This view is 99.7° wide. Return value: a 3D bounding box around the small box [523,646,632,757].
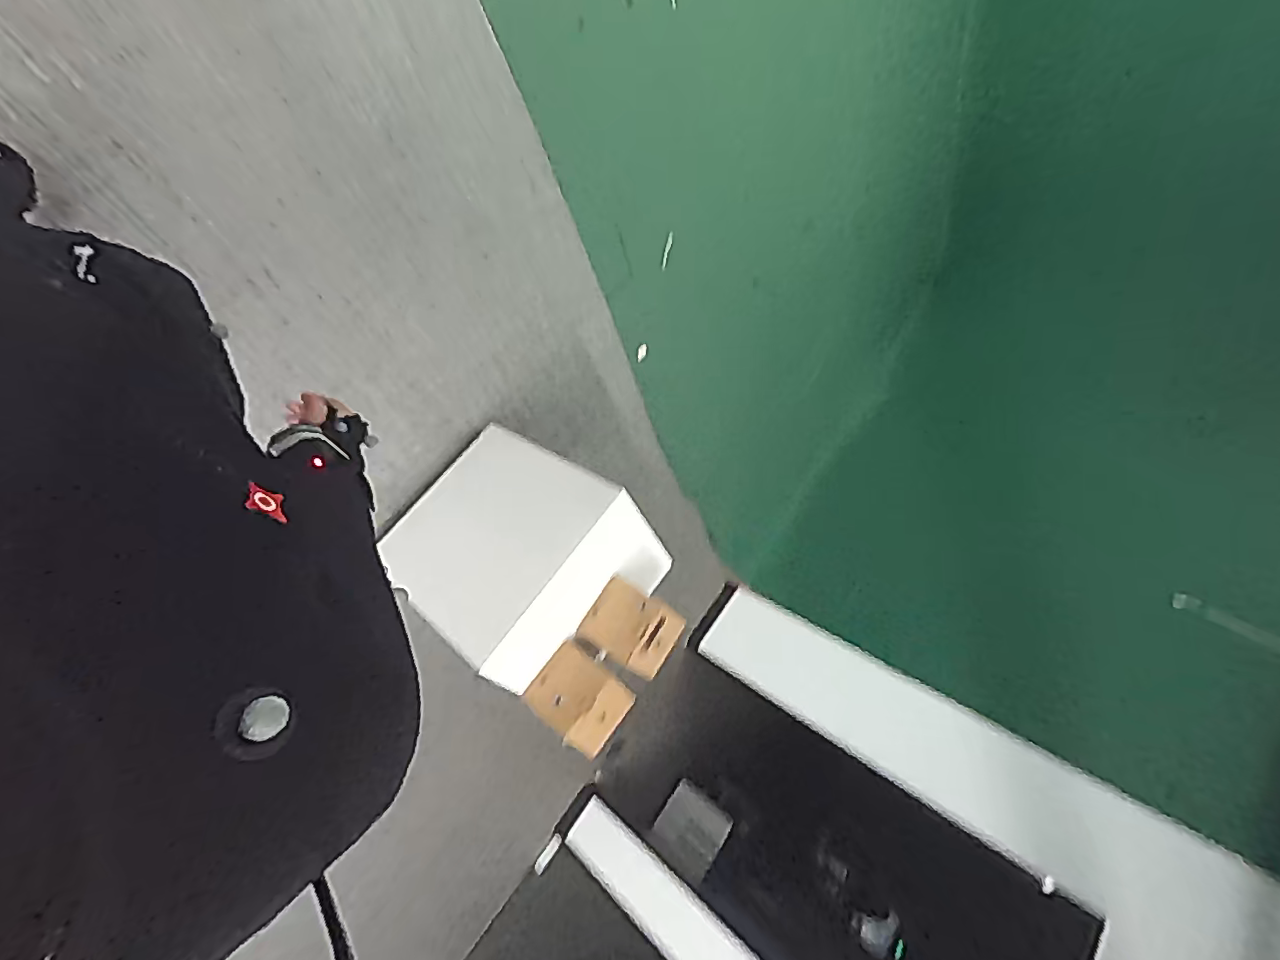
[{"bbox_3d":[-0.152,0.531,1.314,0.168,0.176,0.179,-49,142,-20],"label":"small box"}]
